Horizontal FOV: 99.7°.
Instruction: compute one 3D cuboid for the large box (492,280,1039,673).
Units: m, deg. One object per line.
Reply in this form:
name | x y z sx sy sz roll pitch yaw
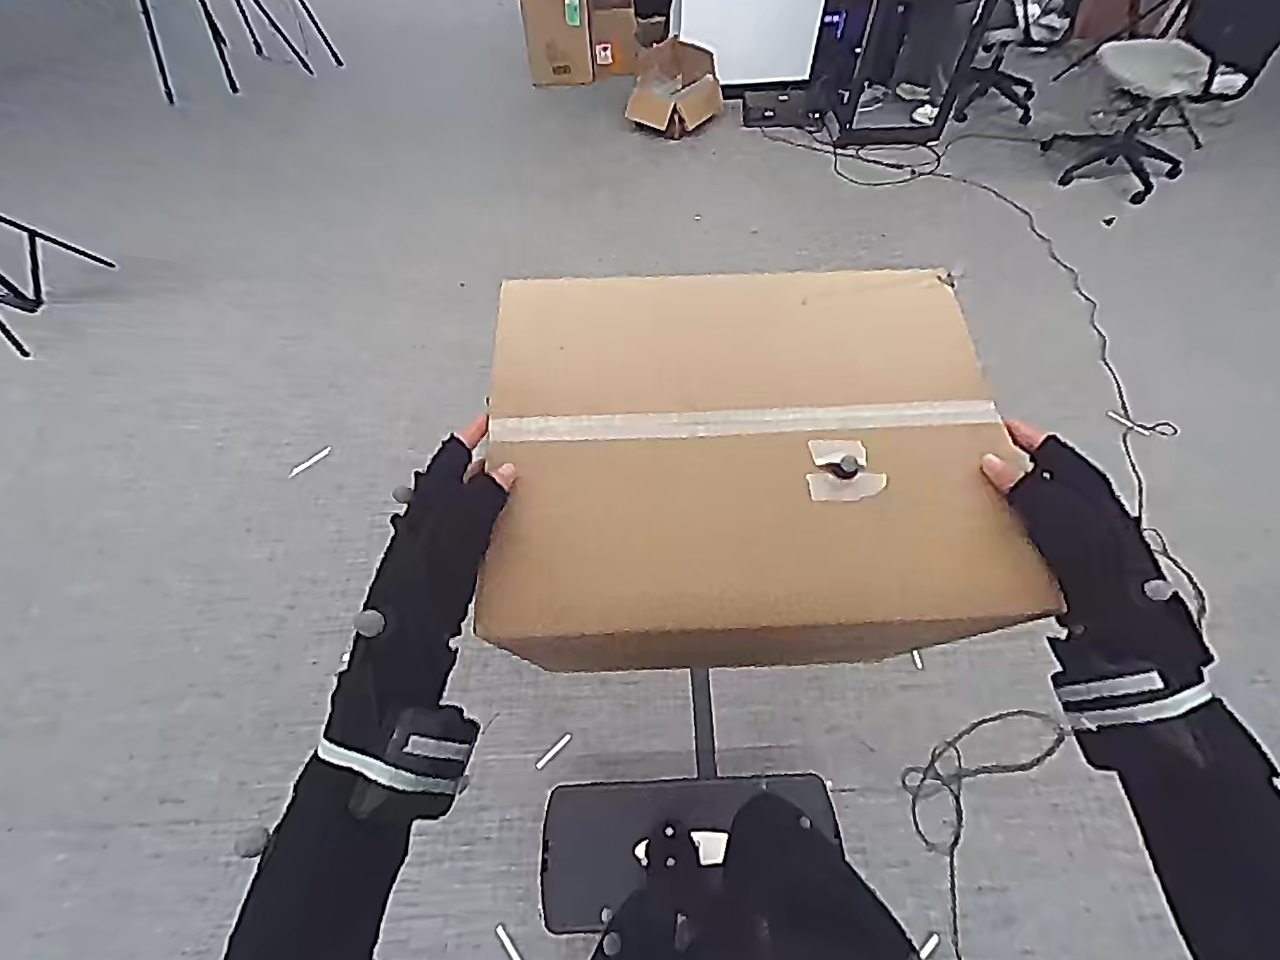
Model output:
large box | 0.080 0.020 0.577 0.408 0.320 0.320 -2 67 -2
